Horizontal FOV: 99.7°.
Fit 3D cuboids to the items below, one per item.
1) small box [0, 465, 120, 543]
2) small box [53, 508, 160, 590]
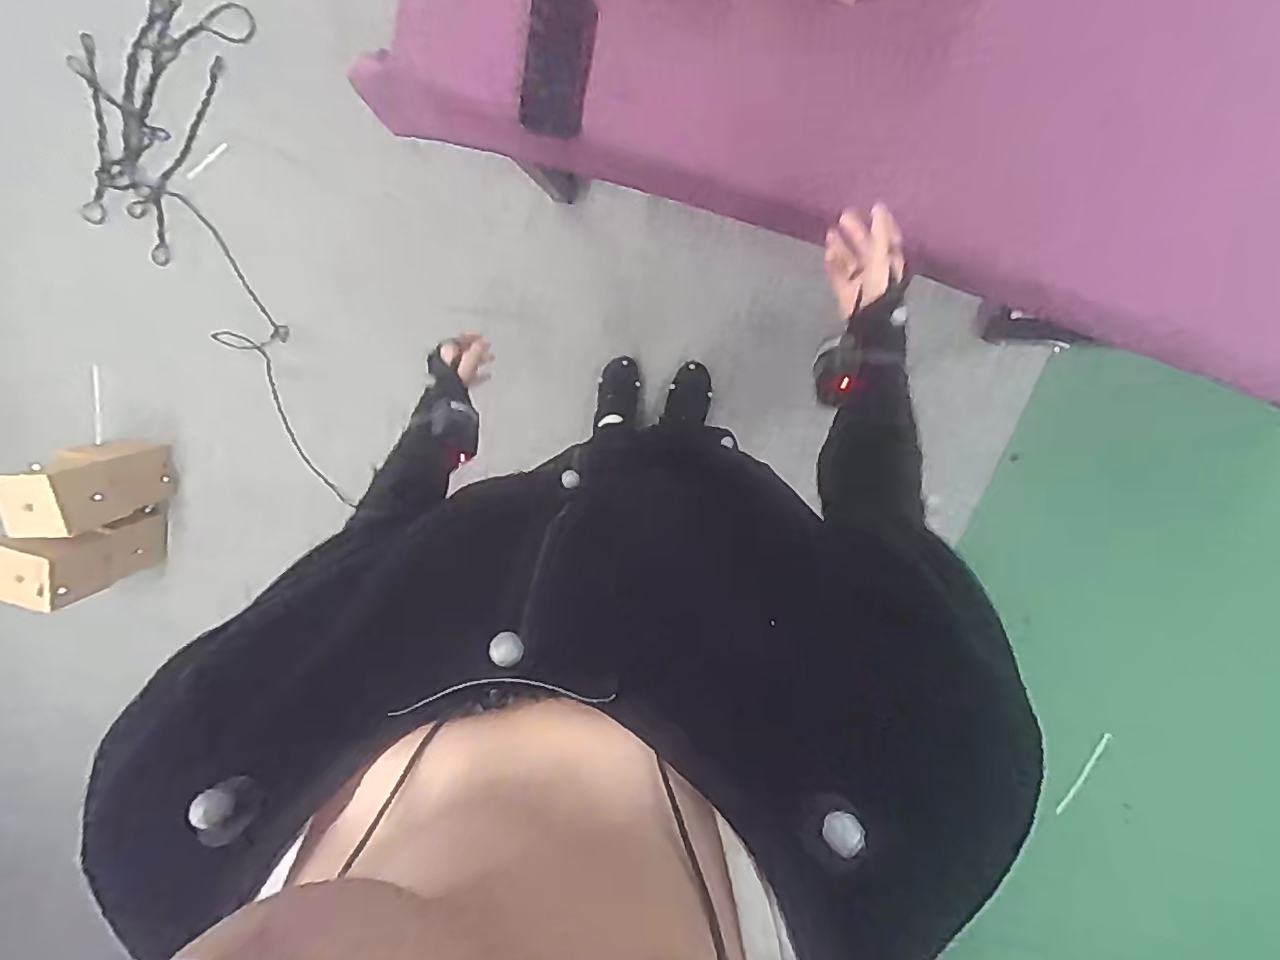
[{"bbox_3d":[-1.517,0.058,1.408,0.179,0.176,0.168,-1,106,6],"label":"small box"},{"bbox_3d":[-1.591,0.198,1.621,0.168,0.176,0.179,16,107,1],"label":"small box"}]
